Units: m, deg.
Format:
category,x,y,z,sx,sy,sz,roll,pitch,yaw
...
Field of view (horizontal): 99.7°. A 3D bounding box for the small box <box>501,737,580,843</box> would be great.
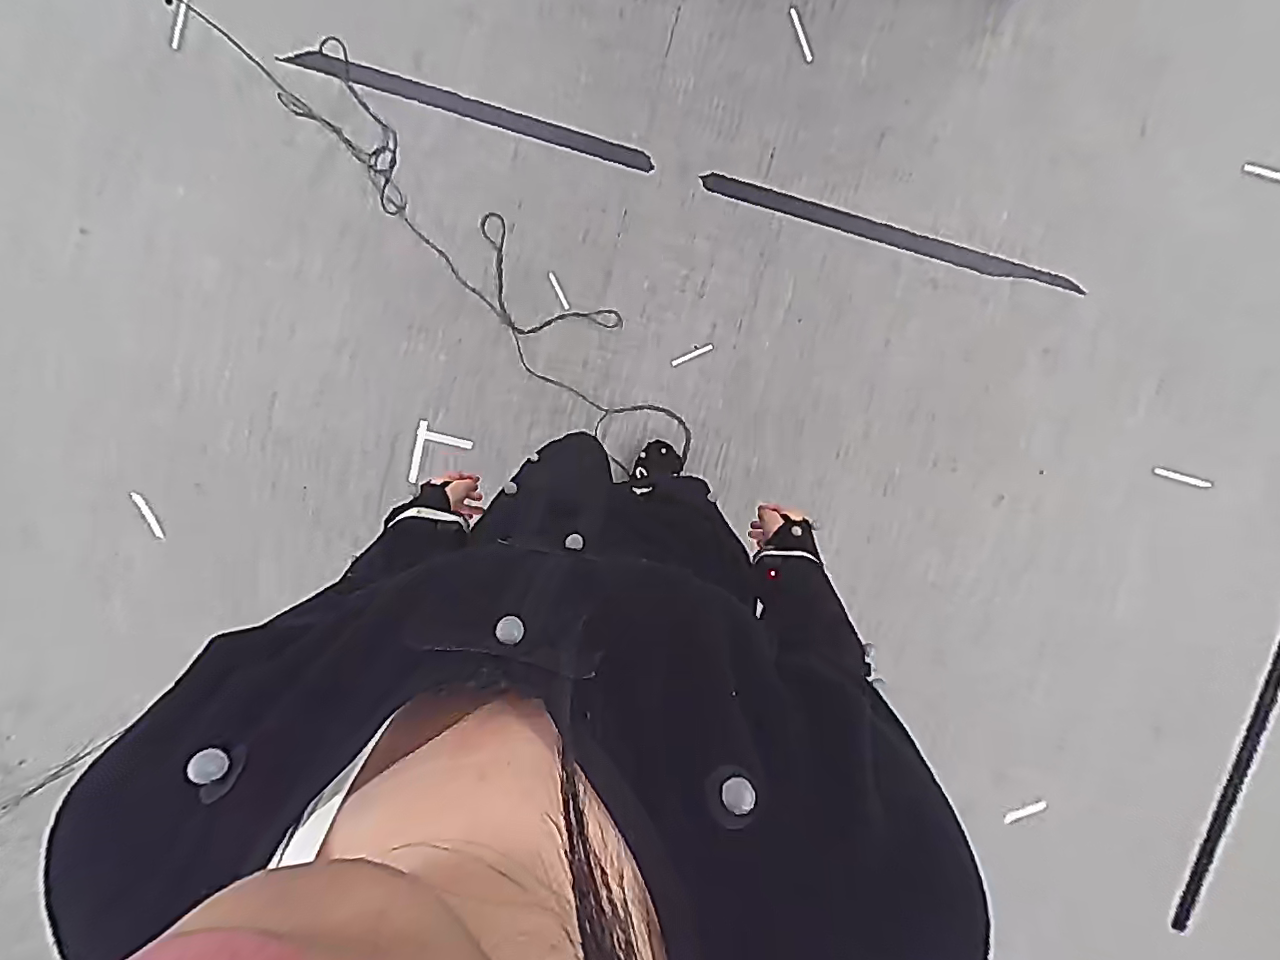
category,x,y,z,sx,sy,sz,roll,pitch,yaw
small box,-0.259,0.819,1.446,0.168,0.176,0.179,9,93,0
